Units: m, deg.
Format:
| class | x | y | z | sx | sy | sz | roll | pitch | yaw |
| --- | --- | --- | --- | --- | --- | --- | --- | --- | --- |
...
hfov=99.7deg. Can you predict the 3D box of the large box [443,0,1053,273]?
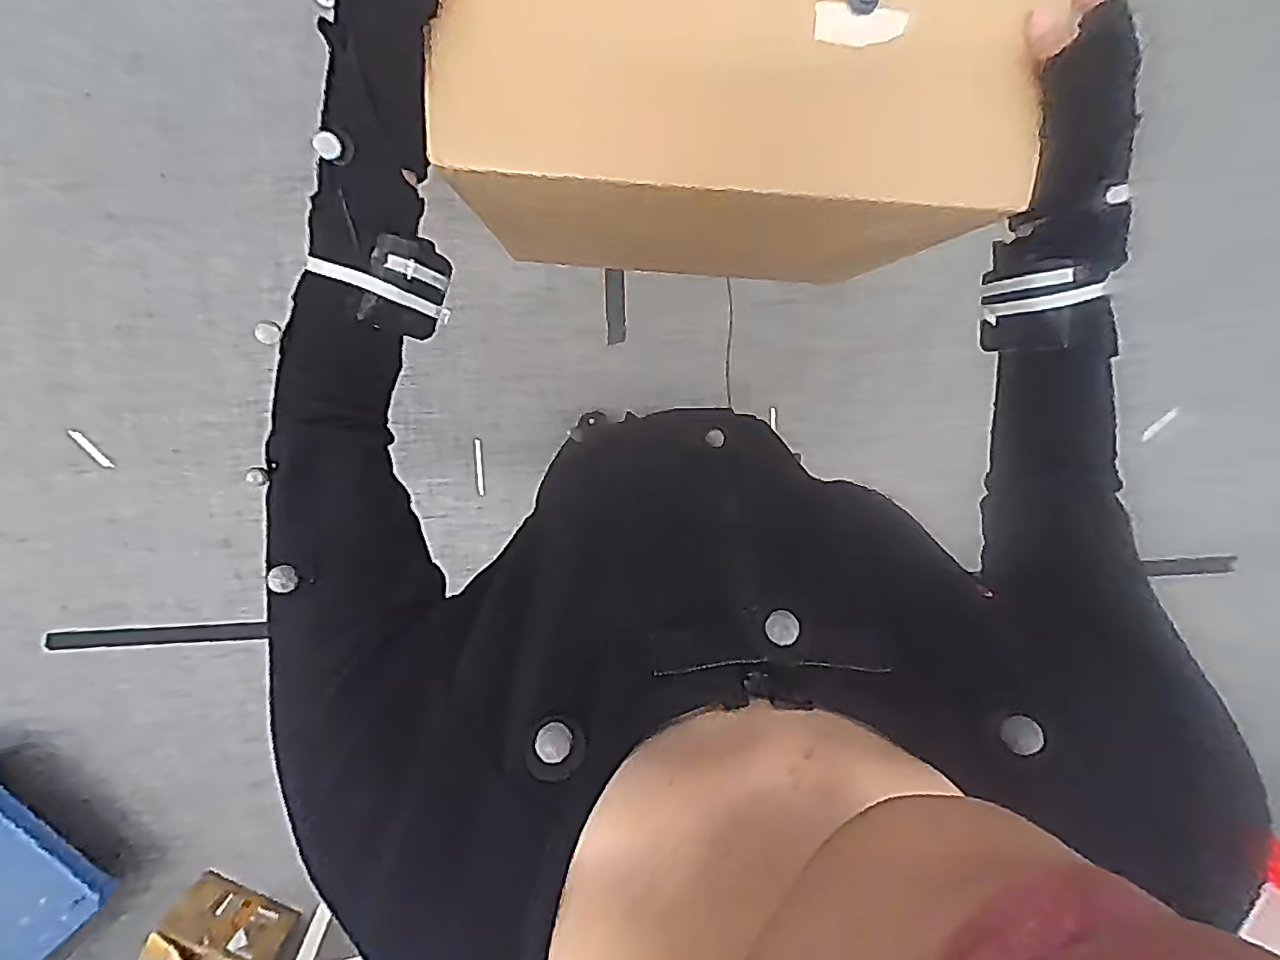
| class | x | y | z | sx | sy | sz | roll | pitch | yaw |
| --- | --- | --- | --- | --- | --- | --- | --- | --- | --- |
| large box | 0.064 | -0.380 | 0.483 | 0.408 | 0.320 | 0.320 | 2 | 102 | -5 |
